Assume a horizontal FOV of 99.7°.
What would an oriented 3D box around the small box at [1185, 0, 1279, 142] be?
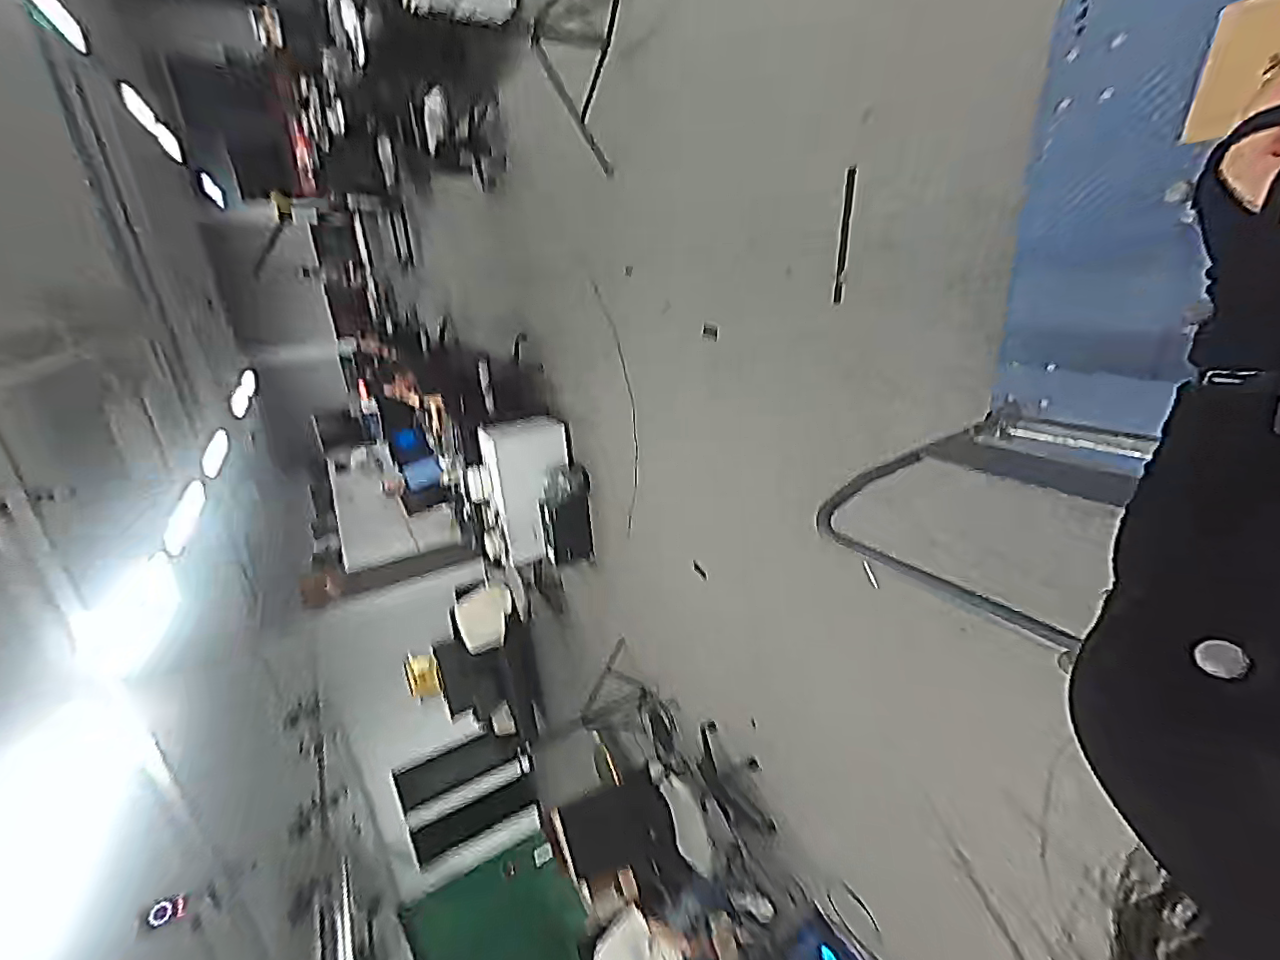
[{"bbox_3d":[0.919,-0.571,0.738,0.179,0.176,0.168,33,132,52],"label":"small box"}]
